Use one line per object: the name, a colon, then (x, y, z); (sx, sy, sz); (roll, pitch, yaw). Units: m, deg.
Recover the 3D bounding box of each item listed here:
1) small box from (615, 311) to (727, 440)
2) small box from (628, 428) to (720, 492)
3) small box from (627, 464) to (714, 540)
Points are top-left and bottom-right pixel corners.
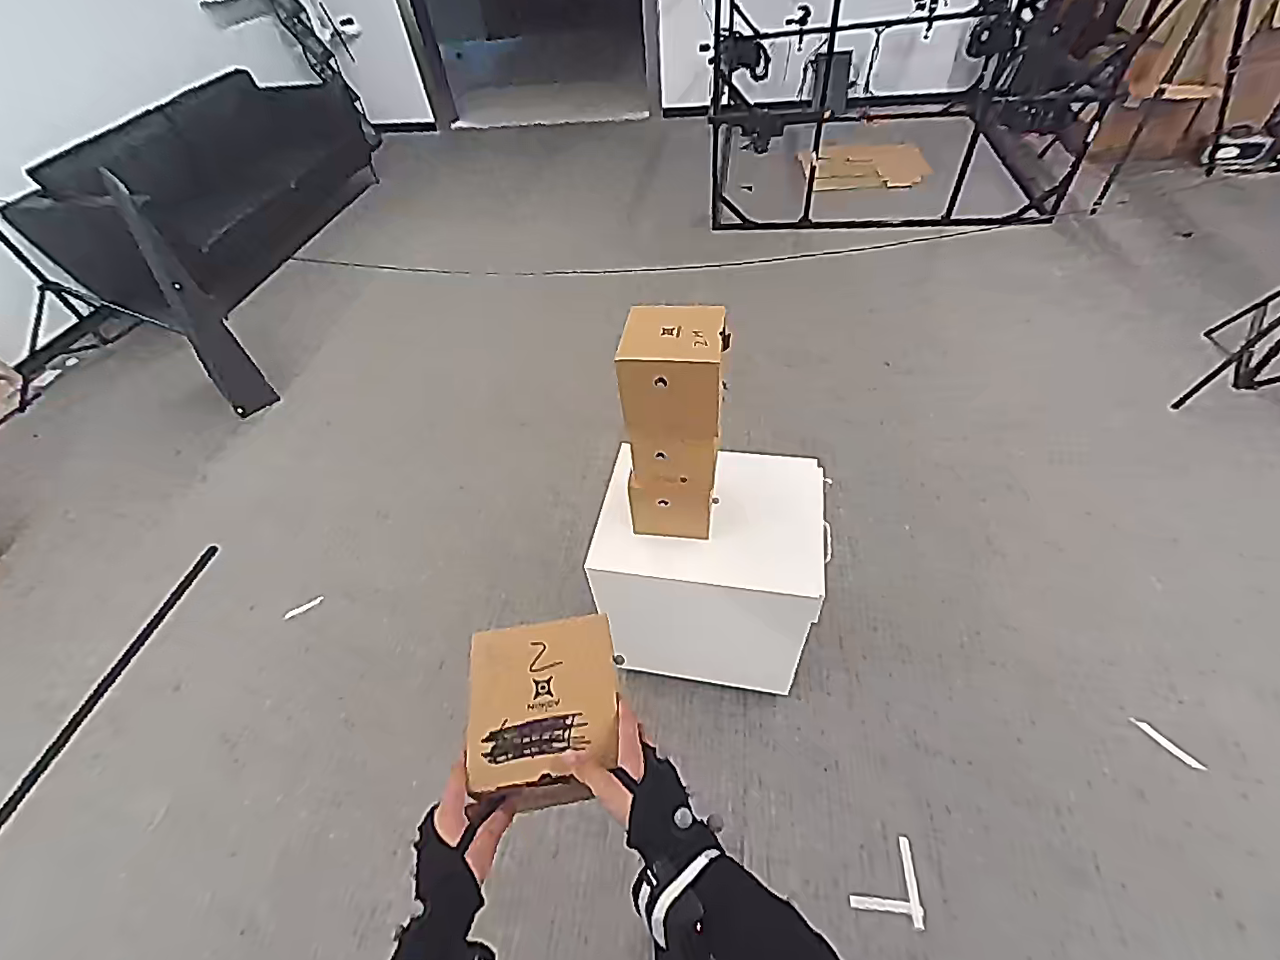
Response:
small box: (0.063, -0.189, 0.986); (0.179, 0.176, 0.168); (5, 49, 10)
small box: (0.078, -0.094, 1.121); (0.168, 0.176, 0.179); (5, 48, 10)
small box: (0.076, 0.022, 1.236); (0.179, 0.176, 0.168); (5, 49, 9)
